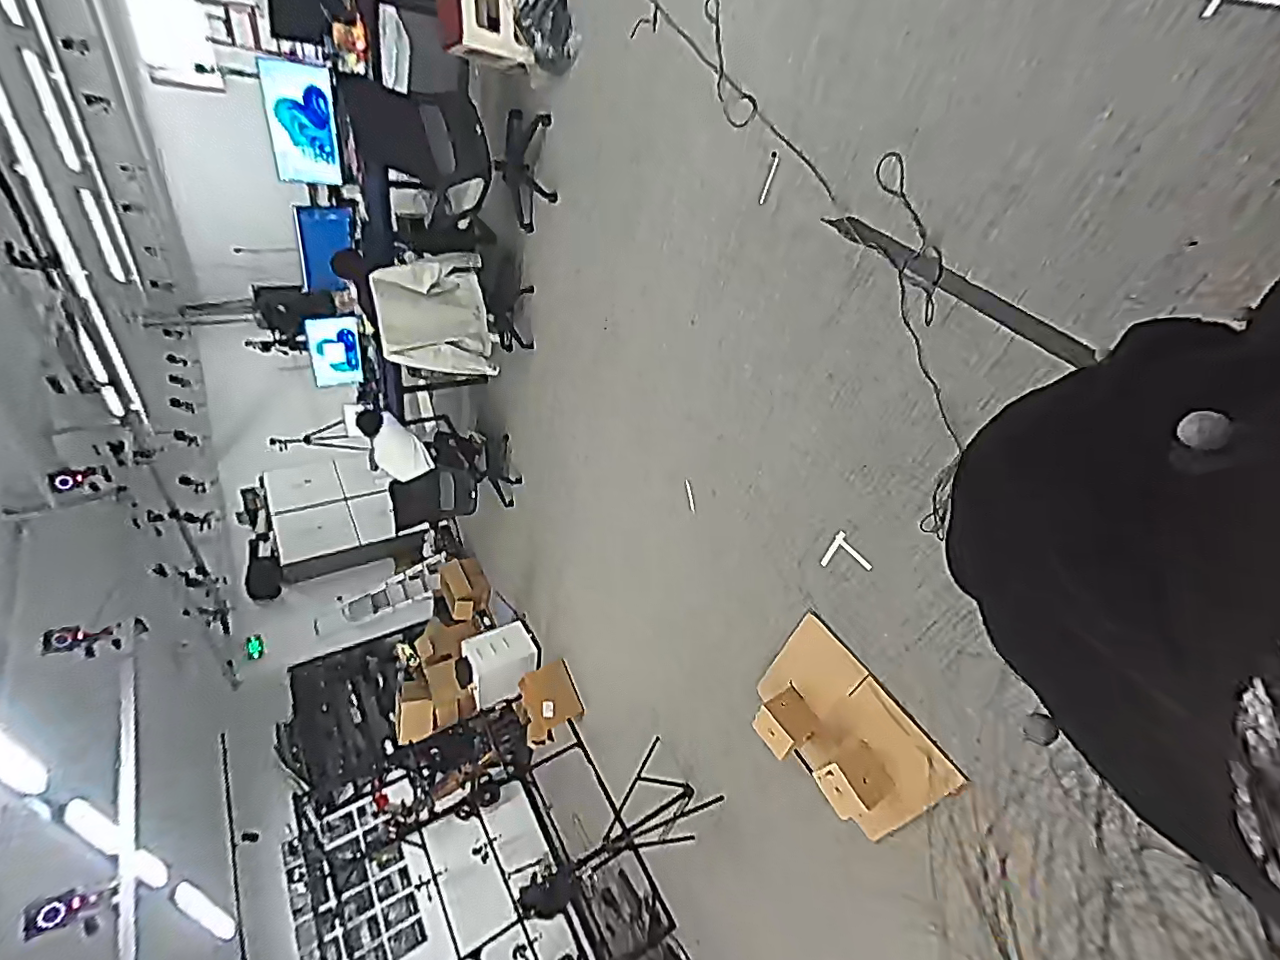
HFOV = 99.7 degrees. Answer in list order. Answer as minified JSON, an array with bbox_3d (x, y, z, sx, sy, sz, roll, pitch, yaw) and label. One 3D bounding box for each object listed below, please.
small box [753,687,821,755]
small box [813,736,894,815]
[{"bbox_3d":[0.597,0.970,2.200,0.179,0.176,0.168,47,140,37],"label":"small box"},{"bbox_3d":[0.775,1.069,1.959,0.179,0.176,0.168,56,143,26],"label":"small box"}]
